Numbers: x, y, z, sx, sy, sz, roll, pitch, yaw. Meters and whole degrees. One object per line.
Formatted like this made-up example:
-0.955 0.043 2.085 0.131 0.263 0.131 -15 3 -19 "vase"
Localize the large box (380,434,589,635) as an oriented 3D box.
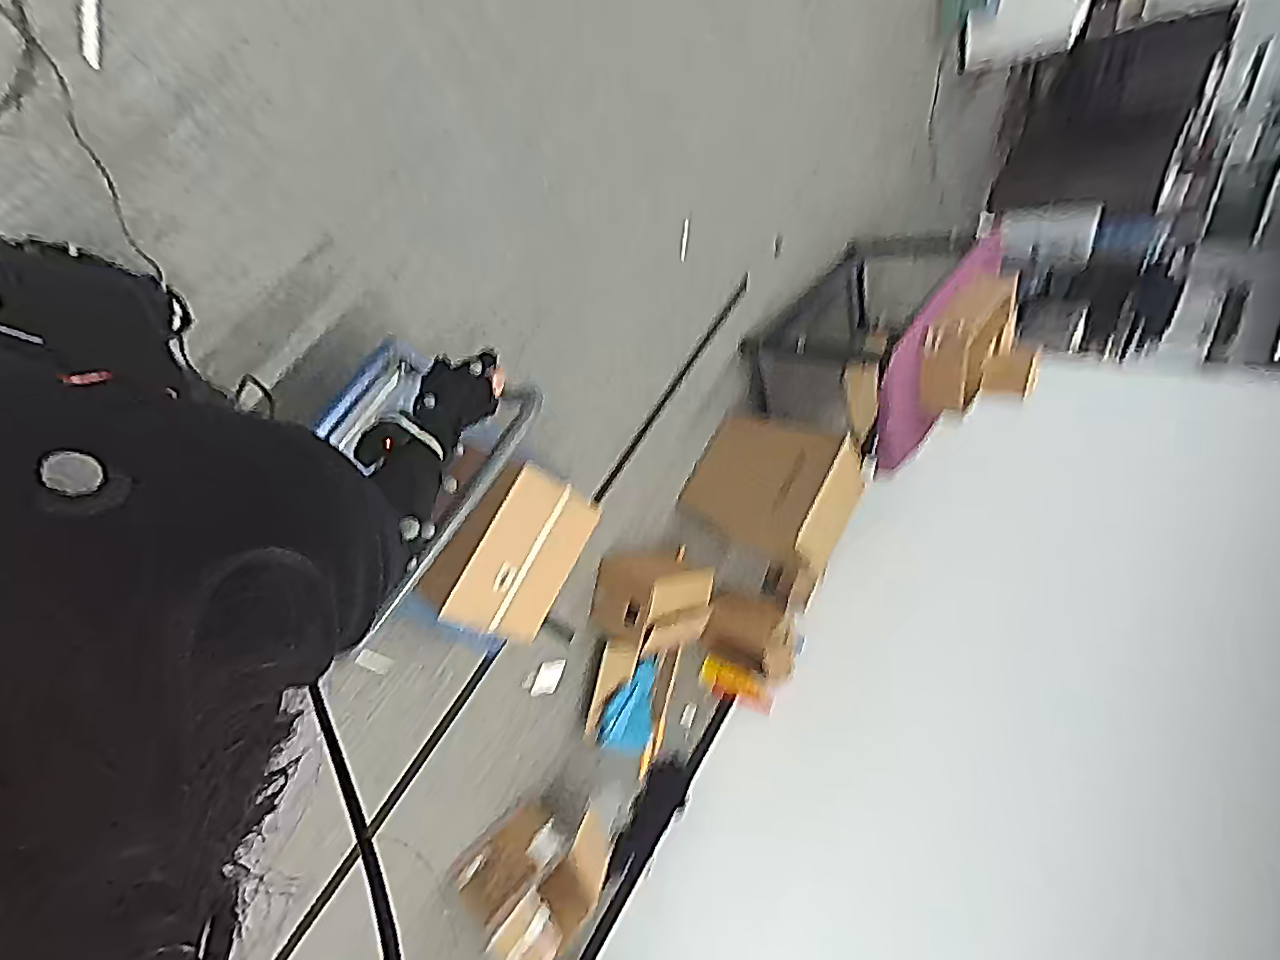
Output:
-0.414 0.143 1.463 0.320 0.320 0.408 38 77 -47 "large box"
